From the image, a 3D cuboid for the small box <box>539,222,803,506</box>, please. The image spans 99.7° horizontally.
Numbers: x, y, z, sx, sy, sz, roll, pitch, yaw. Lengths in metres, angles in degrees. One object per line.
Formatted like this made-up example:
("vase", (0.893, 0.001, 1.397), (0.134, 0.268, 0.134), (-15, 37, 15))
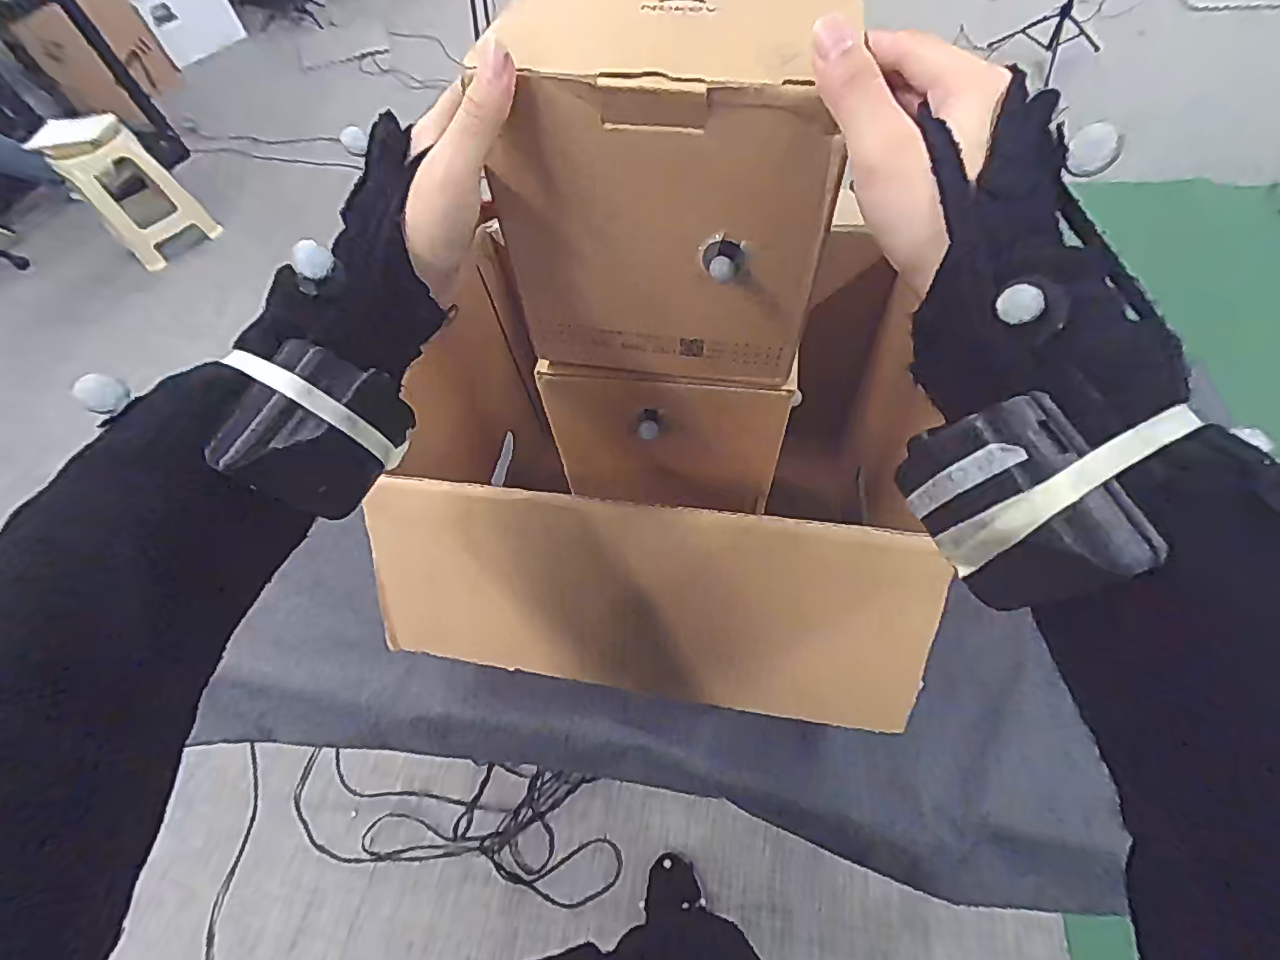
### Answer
("small box", (0.034, -0.091, 0.461), (0.179, 0.176, 0.168), (5, 58, 8))
